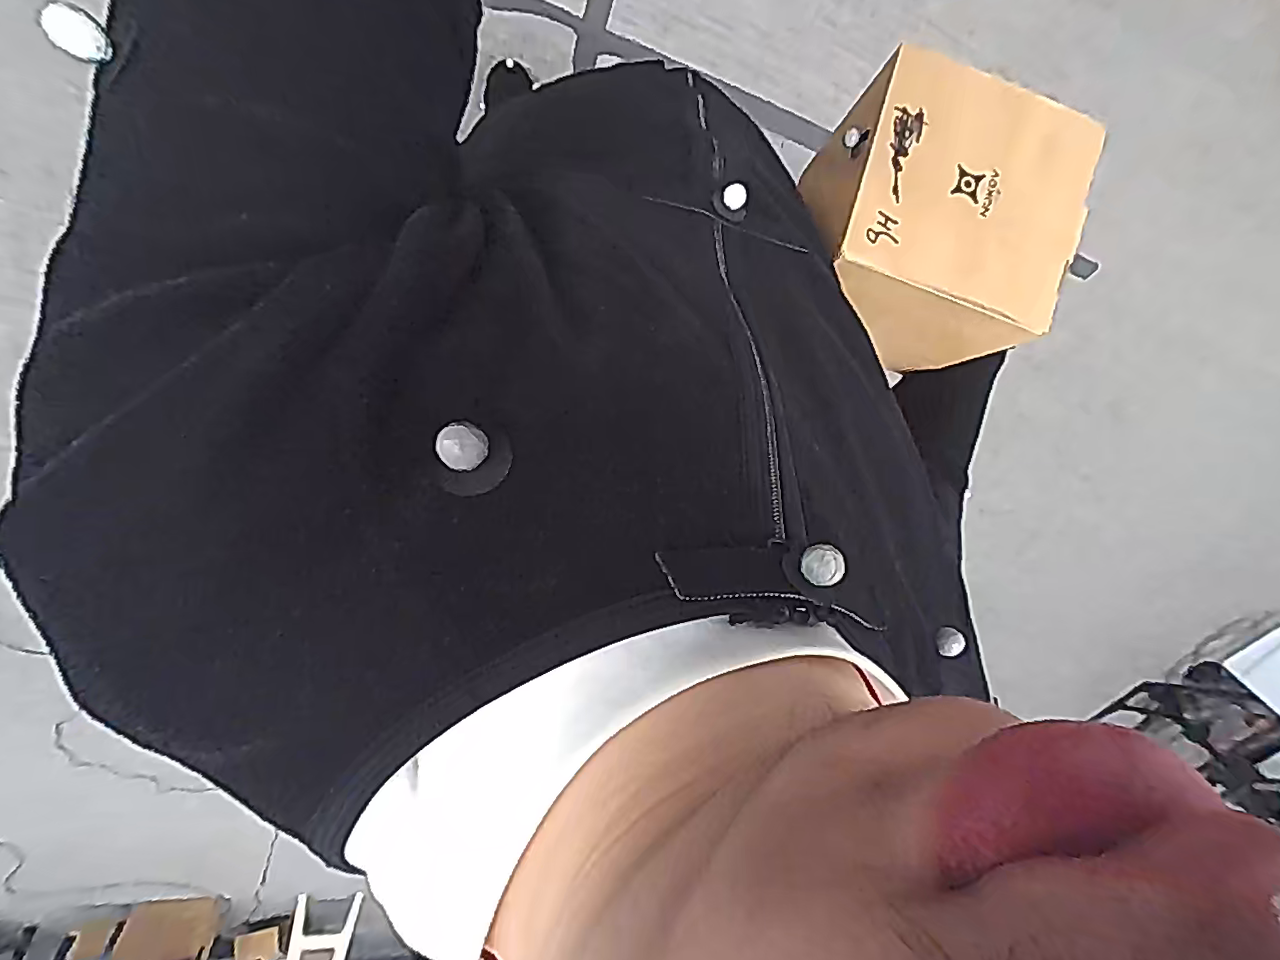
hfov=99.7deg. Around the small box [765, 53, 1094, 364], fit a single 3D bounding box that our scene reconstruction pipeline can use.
[{"bbox_3d":[0.240,-0.216,0.488,0.179,0.176,0.168,17,88,-7],"label":"small box"}]
